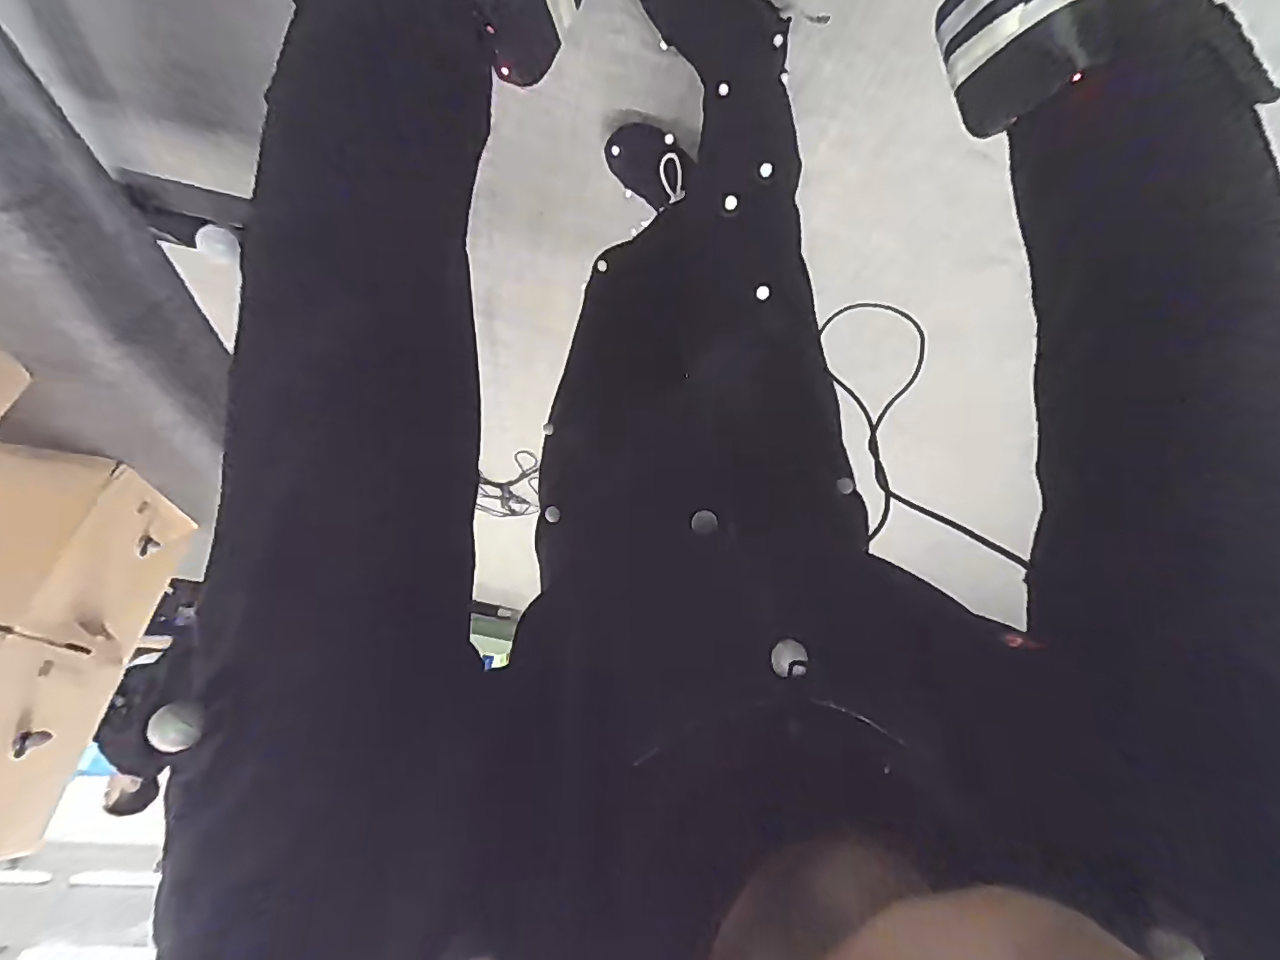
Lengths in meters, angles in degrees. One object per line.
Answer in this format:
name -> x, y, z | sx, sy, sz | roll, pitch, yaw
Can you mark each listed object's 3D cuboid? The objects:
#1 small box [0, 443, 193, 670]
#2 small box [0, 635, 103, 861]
small box -> -0.596, 0.073, 0.521 | 0.179, 0.176, 0.168 | 9, 150, -10
small box -> -0.601, 0.214, 0.436 | 0.179, 0.176, 0.168 | 8, 150, -9
